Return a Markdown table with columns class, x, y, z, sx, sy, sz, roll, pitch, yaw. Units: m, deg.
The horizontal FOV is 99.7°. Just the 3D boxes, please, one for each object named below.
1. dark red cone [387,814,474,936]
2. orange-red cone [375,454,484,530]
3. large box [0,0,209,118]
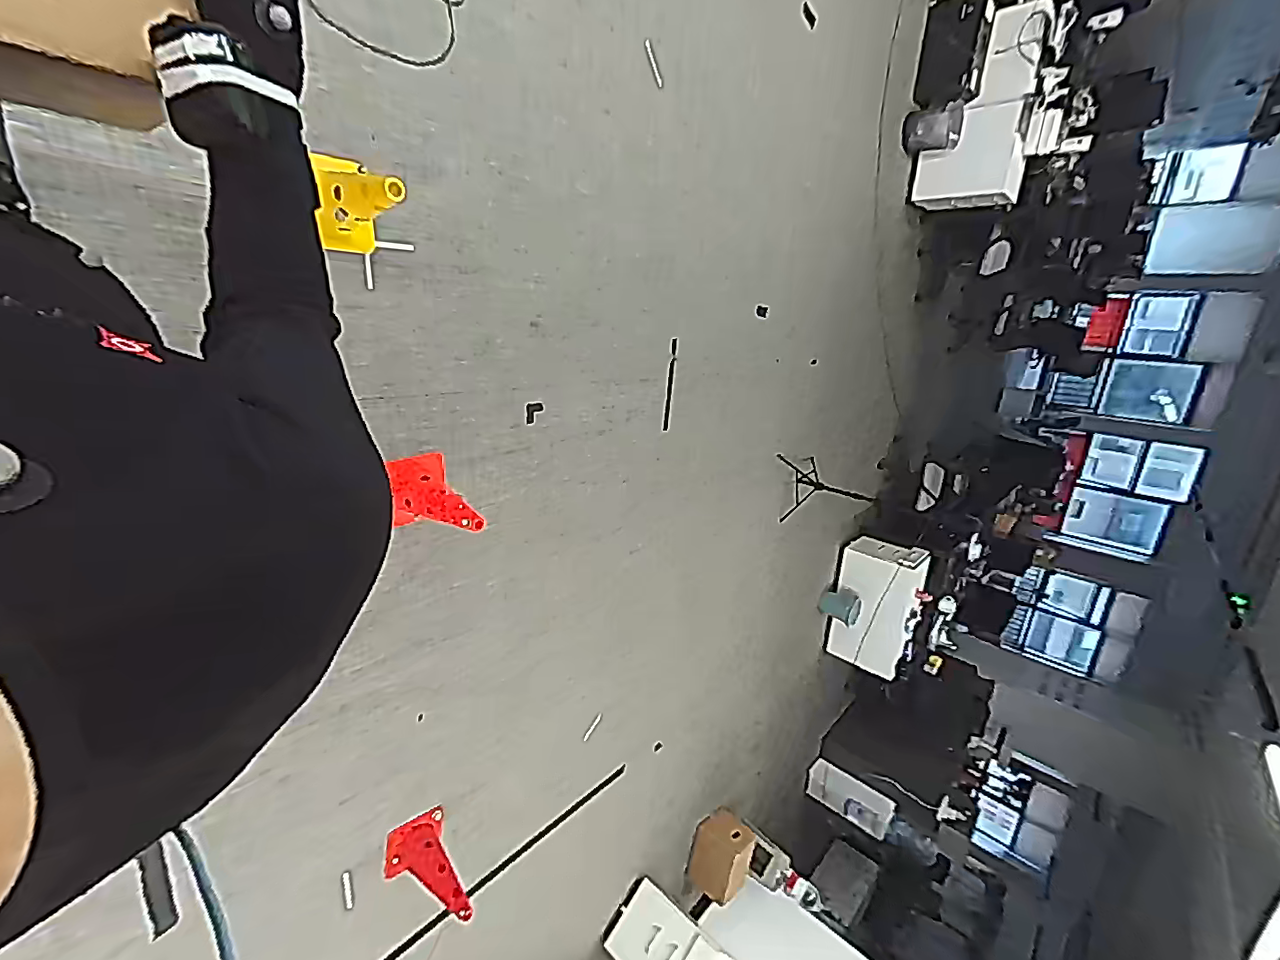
| class | x | y | z | sx | sy | sz | roll | pitch | yaw |
| --- | --- | --- | --- | --- | --- | --- | --- | --- | --- |
| dark red cone | -0.663 | 1.327 | 1.781 | 0.201 | 0.394 | 0.202 | -6 | 108 | -47 |
| orange-red cone | -0.543 | 0.069 | 1.476 | 0.198 | 0.360 | 0.199 | -18 | 116 | -46 |
| large box | -0.538 | -0.442 | 0.291 | 0.408 | 0.320 | 0.320 | -14 | 119 | -46 |
